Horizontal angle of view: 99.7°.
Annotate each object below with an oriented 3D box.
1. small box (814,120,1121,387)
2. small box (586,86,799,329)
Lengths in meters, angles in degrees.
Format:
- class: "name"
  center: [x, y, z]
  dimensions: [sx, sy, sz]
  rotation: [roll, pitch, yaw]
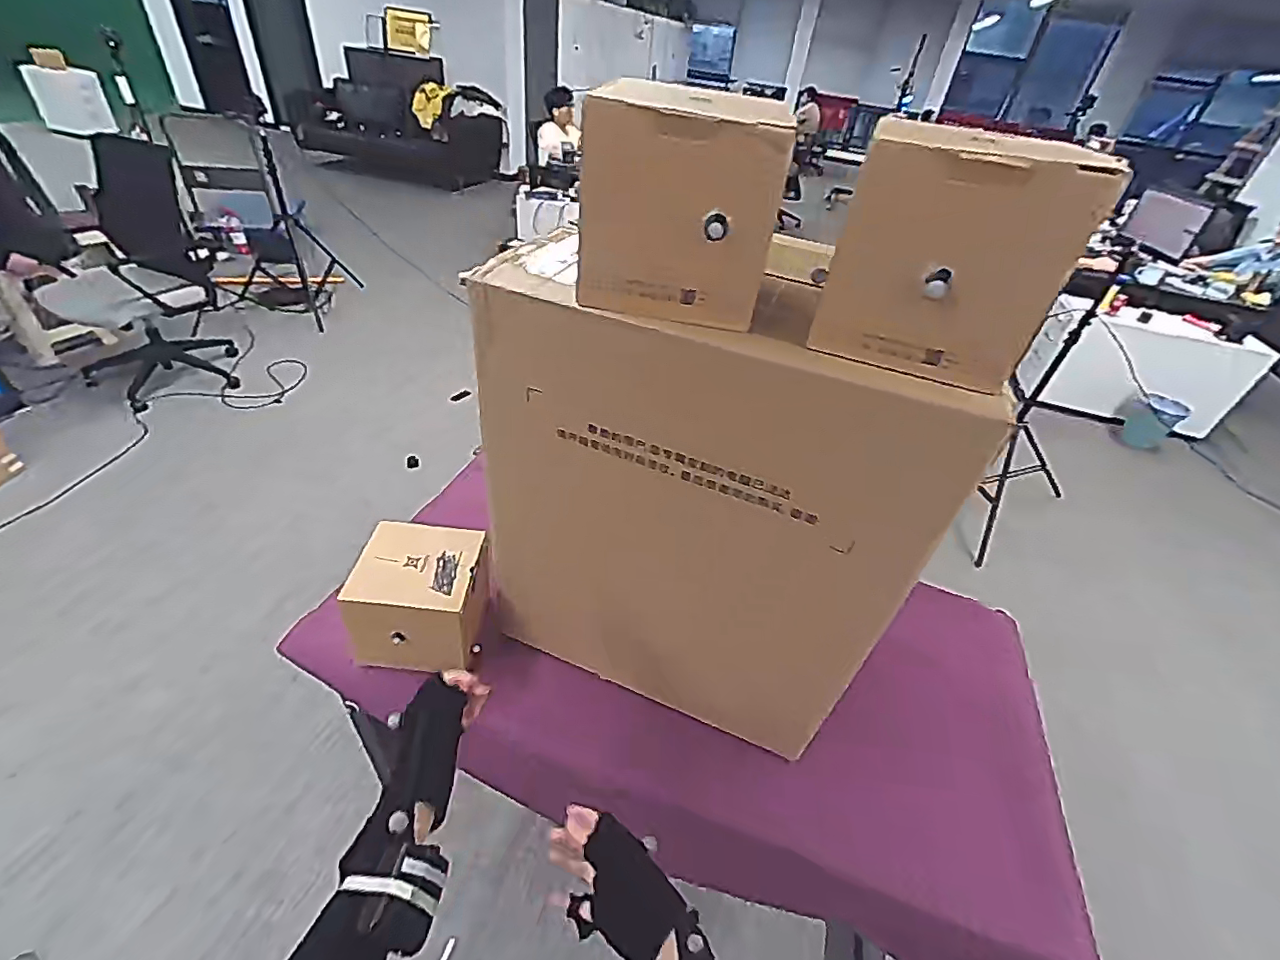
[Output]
- class: "small box"
  center: [0.267, -0.206, 0.486]
  dimensions: [0.168, 0.176, 0.179]
  rotation: [19, 42, 13]
- class: "small box"
  center: [0.046, -0.264, 0.525]
  dimensions: [0.168, 0.176, 0.179]
  rotation: [11, 39, 2]
